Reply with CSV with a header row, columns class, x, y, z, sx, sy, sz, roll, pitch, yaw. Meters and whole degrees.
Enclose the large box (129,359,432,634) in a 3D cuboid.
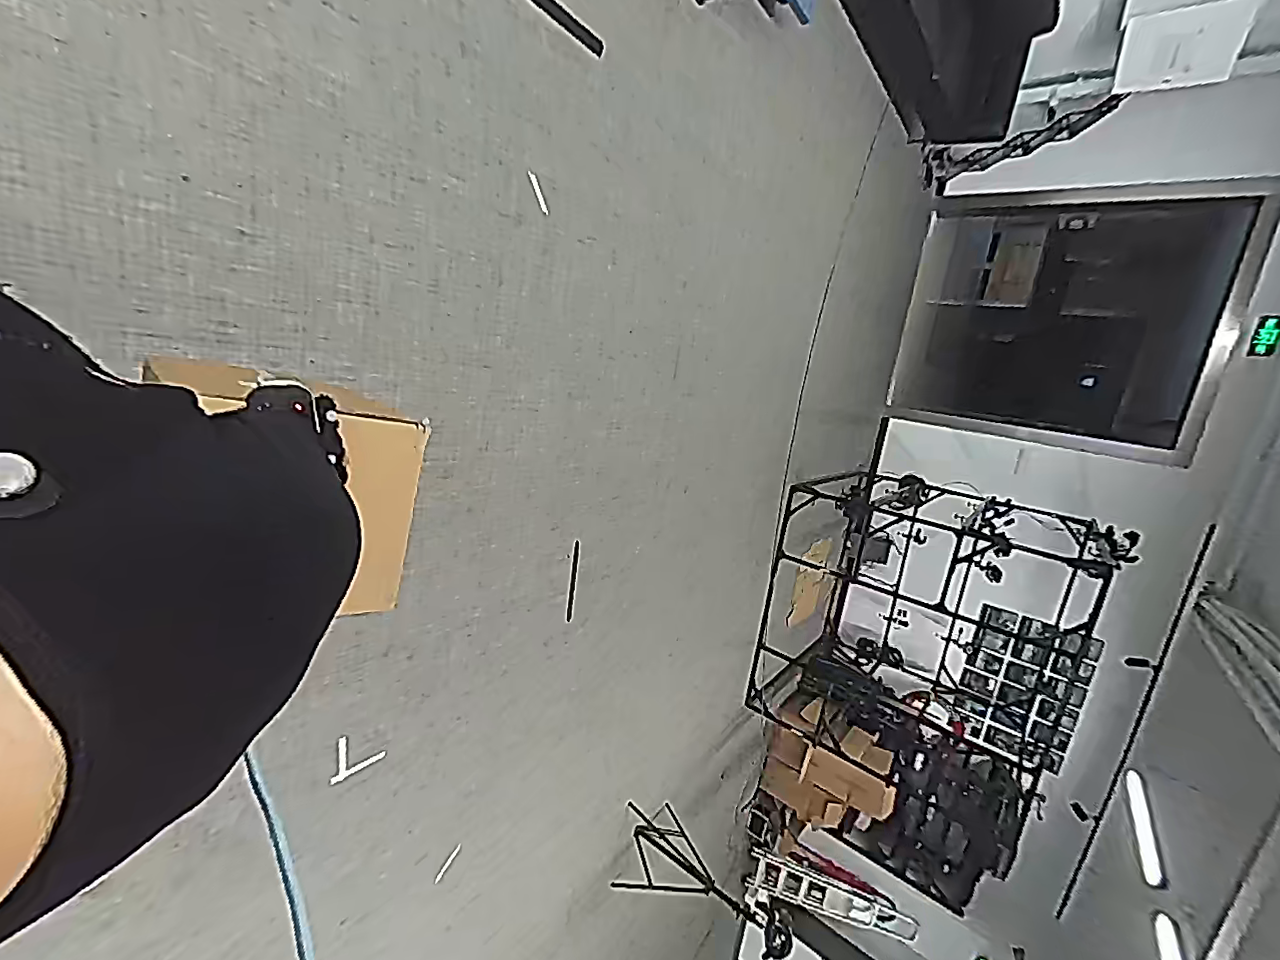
class,x,y,z,sx,sy,sz,roll,pitch,yaw
large box,-0.607,0.008,0.897,0.320,0.408,0.320,4,103,-47
